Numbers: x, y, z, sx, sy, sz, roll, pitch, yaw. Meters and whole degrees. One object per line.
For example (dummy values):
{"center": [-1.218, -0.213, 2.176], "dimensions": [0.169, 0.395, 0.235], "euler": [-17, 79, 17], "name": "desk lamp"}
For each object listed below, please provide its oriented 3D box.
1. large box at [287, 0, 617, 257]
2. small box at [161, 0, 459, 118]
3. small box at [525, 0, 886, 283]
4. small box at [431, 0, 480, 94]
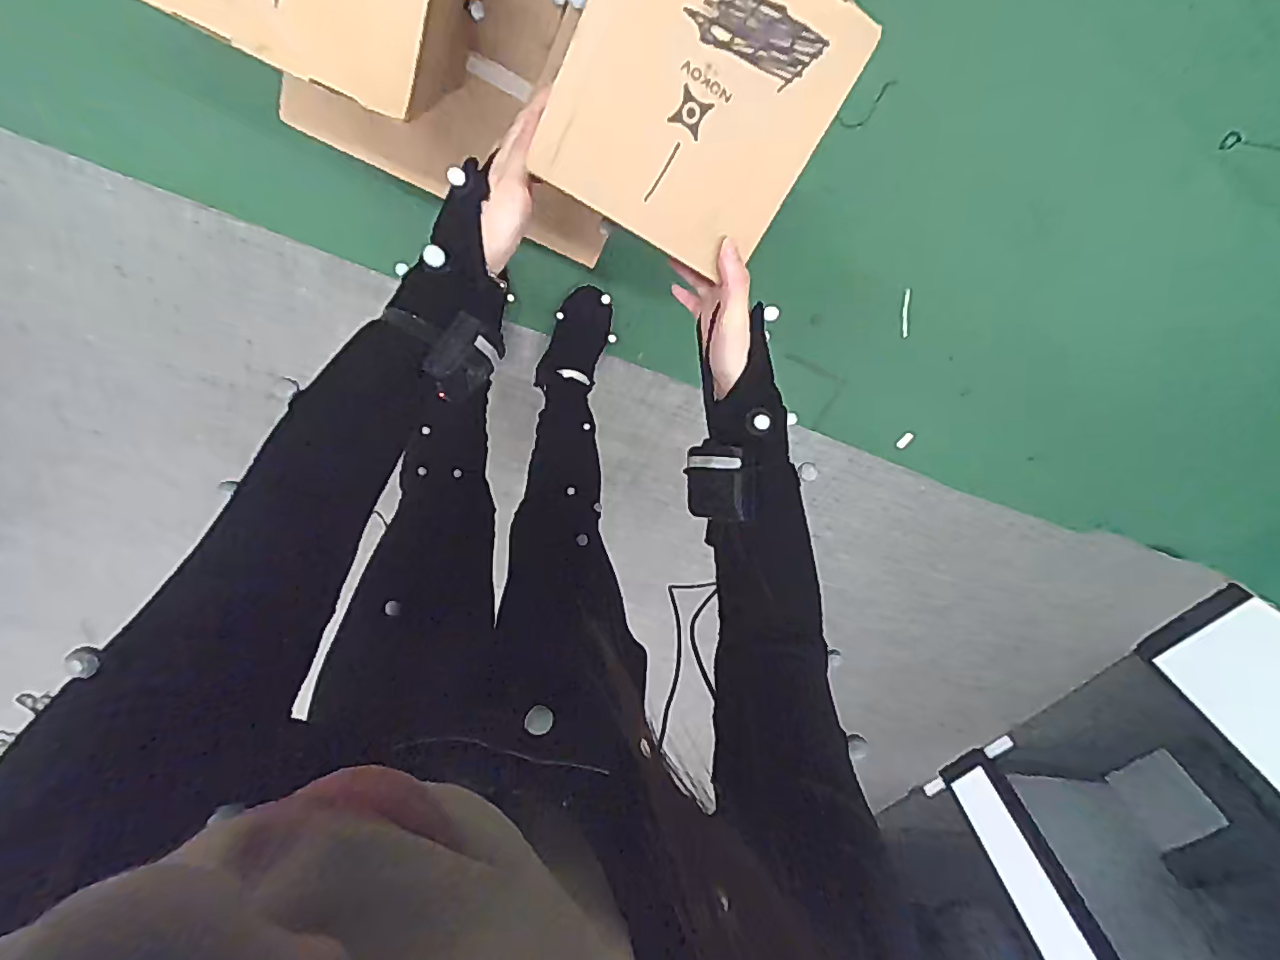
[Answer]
{"center": [-0.189, -0.569, 0.731], "dimensions": [0.408, 0.320, 0.320], "euler": [17, 125, -22], "name": "large box"}
{"center": [-0.209, -0.379, 0.353], "dimensions": [0.168, 0.176, 0.179], "euler": [18, 123, -22], "name": "small box"}
{"center": [0.029, -0.279, 0.397], "dimensions": [0.168, 0.176, 0.179], "euler": [24, 115, -19], "name": "small box"}
{"center": [-0.230, -0.485, 0.478], "dimensions": [0.168, 0.176, 0.179], "euler": [18, 124, -22], "name": "small box"}
